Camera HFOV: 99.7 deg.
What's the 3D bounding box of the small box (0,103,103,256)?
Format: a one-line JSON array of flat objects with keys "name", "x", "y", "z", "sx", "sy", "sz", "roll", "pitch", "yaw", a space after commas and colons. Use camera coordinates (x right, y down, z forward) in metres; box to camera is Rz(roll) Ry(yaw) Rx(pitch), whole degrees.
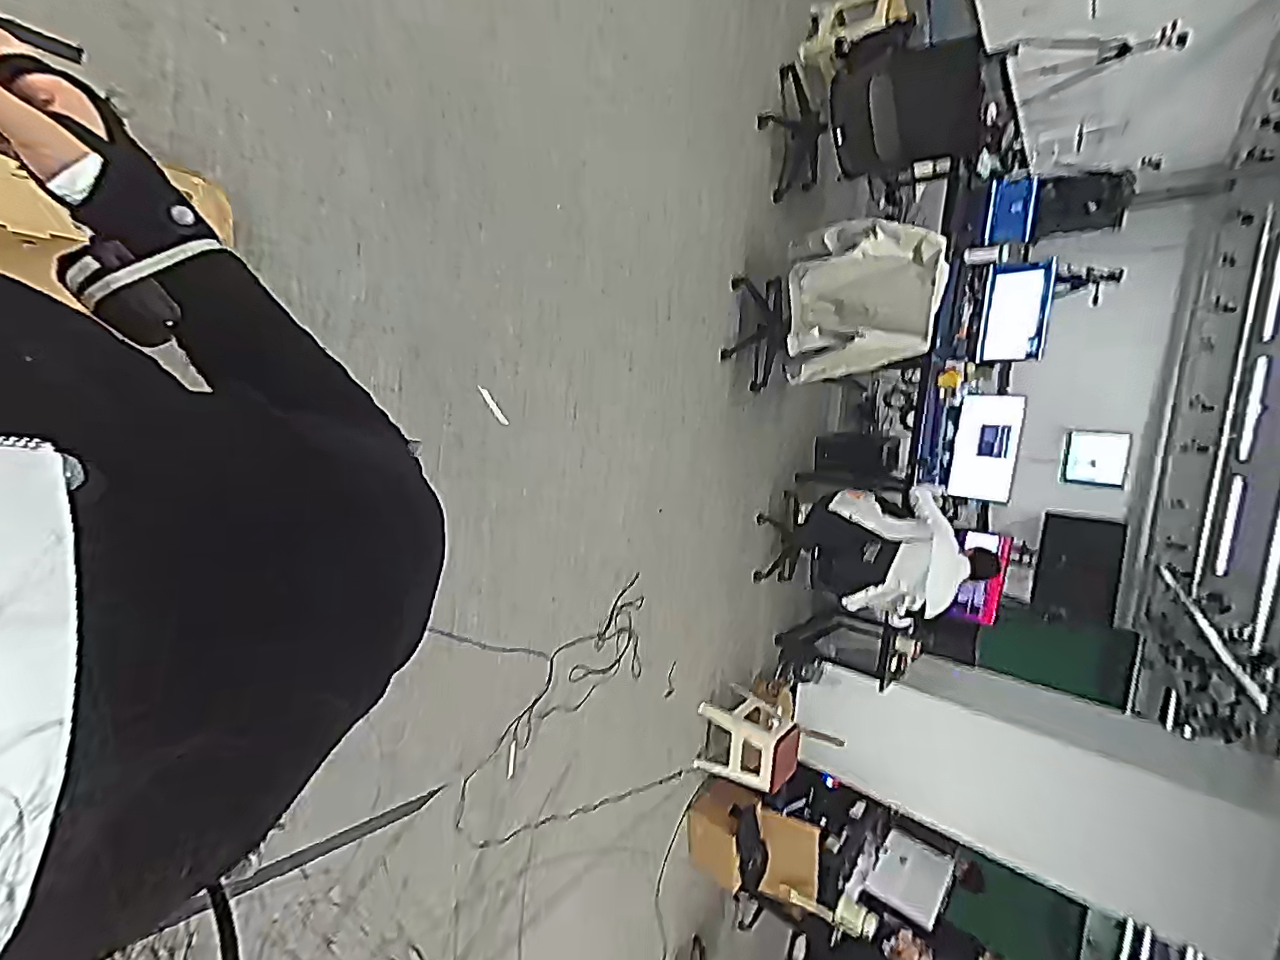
[{"name": "small box", "x": -0.976, "y": -0.470, "z": 0.856, "sx": 0.168, "sy": 0.176, "sz": 0.179, "roll": -4, "pitch": 101, "yaw": -50}]
